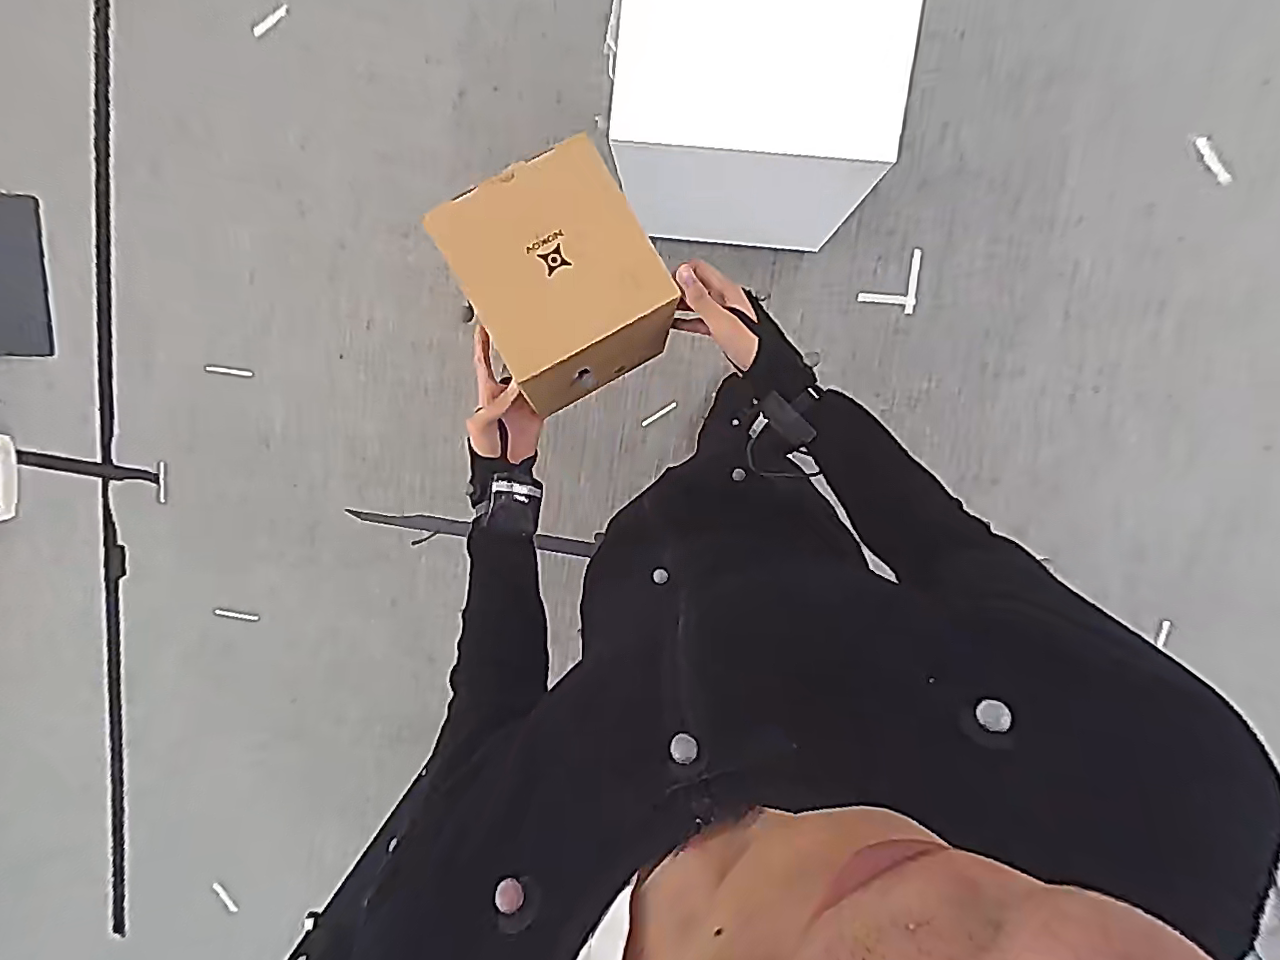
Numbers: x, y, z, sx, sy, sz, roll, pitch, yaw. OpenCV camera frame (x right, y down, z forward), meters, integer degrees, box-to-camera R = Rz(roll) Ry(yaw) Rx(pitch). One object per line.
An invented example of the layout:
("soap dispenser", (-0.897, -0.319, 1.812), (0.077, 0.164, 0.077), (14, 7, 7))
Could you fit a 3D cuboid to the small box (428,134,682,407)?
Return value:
("small box", (-0.076, -0.189, 0.549), (0.168, 0.176, 0.179), (-30, 87, -5))
